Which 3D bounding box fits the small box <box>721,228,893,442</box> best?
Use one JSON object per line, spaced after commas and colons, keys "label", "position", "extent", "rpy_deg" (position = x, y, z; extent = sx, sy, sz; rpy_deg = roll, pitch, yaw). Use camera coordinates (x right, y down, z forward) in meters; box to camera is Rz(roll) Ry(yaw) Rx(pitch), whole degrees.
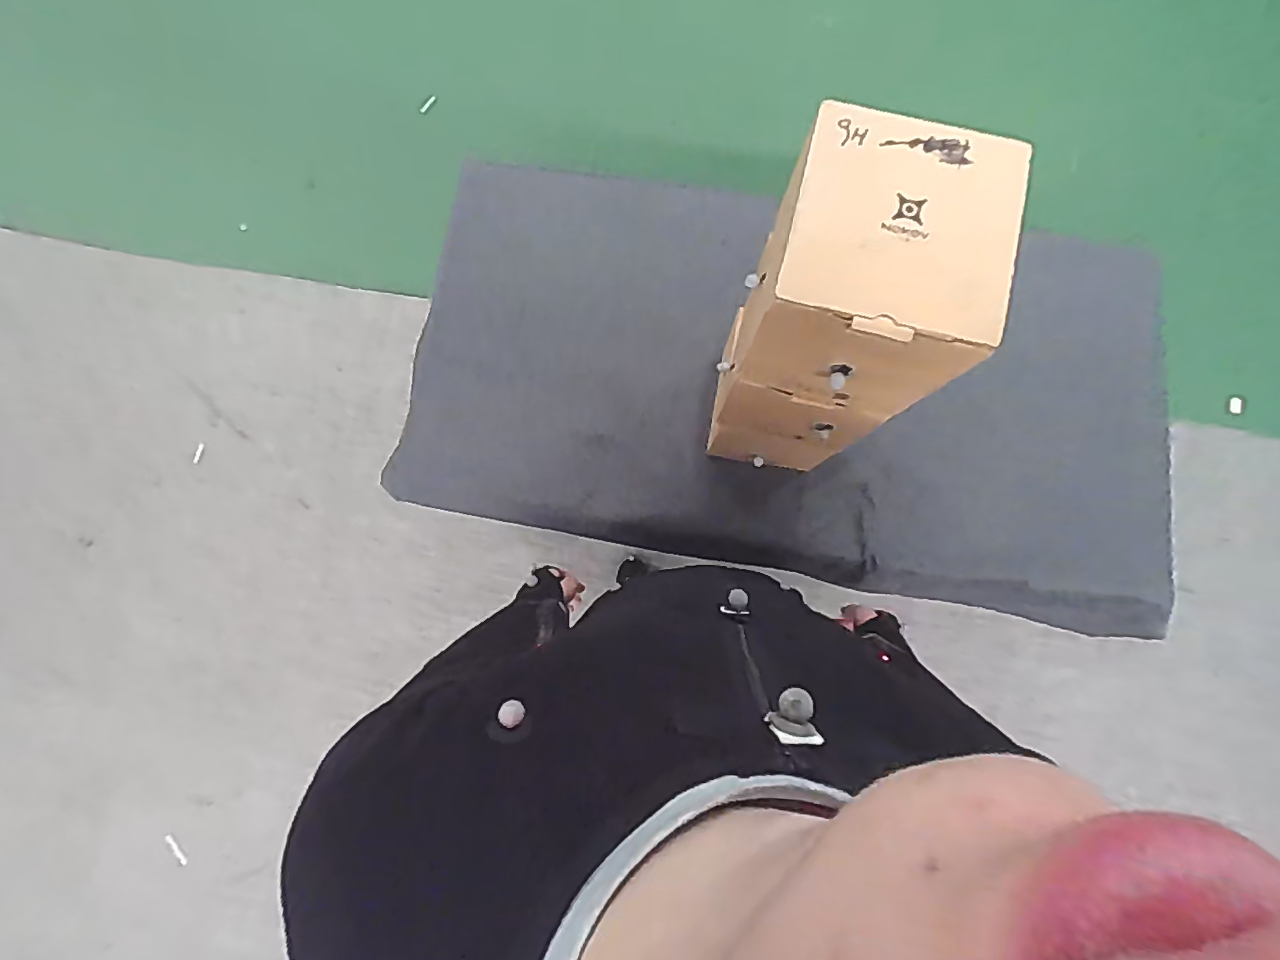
{"label": "small box", "position": [0.198, -0.157, 0.642], "extent": [0.168, 0.176, 0.179], "rpy_deg": [13, 81, 3]}

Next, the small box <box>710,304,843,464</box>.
{"label": "small box", "position": [0.203, -0.135, 0.802], "extent": [0.168, 0.176, 0.179], "rpy_deg": [11, 82, 3]}

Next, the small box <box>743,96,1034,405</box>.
{"label": "small box", "position": [0.197, -0.182, 0.480], "extent": [0.168, 0.176, 0.179], "rpy_deg": [16, 83, 3]}
